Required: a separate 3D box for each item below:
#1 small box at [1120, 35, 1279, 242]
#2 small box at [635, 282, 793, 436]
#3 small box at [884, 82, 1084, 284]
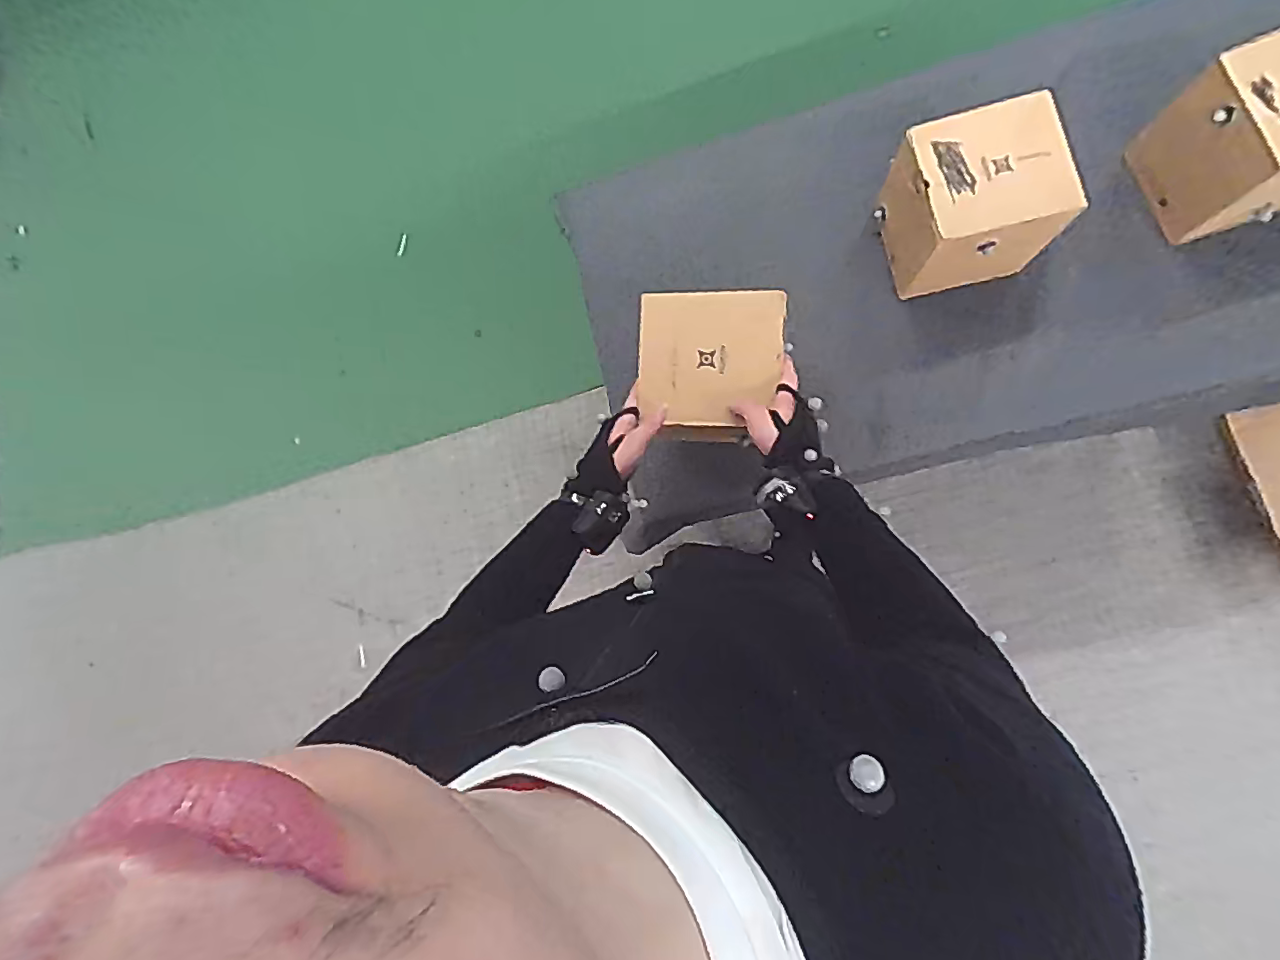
[{"bbox_3d":[0.814,-0.456,0.720,0.179,0.176,0.168,-21,83,7],"label":"small box"},{"bbox_3d":[0.098,-0.148,0.705,0.179,0.176,0.168,3,90,12],"label":"small box"},{"bbox_3d":[0.455,-0.393,0.750,0.179,0.176,0.168,-8,85,8],"label":"small box"}]
